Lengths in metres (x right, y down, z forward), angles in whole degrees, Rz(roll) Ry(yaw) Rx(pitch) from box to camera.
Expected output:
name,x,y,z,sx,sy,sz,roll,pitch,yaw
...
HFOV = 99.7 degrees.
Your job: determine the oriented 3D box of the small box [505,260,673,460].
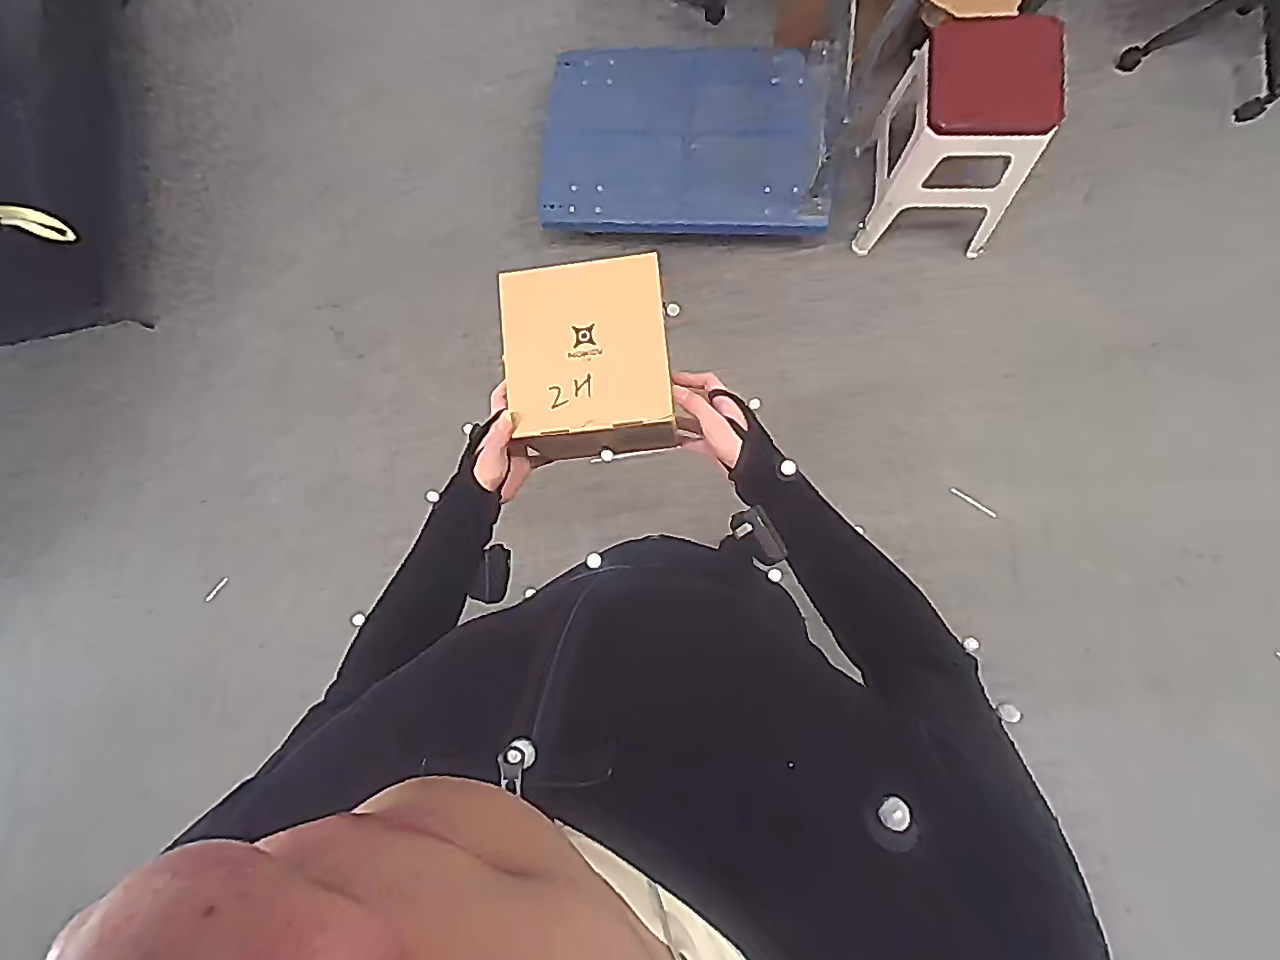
name,x,y,z,sx,sy,sz,roll,pitch,yaw
small box,-0.050,-0.127,0.630,0.168,0.176,0.179,-5,84,4
